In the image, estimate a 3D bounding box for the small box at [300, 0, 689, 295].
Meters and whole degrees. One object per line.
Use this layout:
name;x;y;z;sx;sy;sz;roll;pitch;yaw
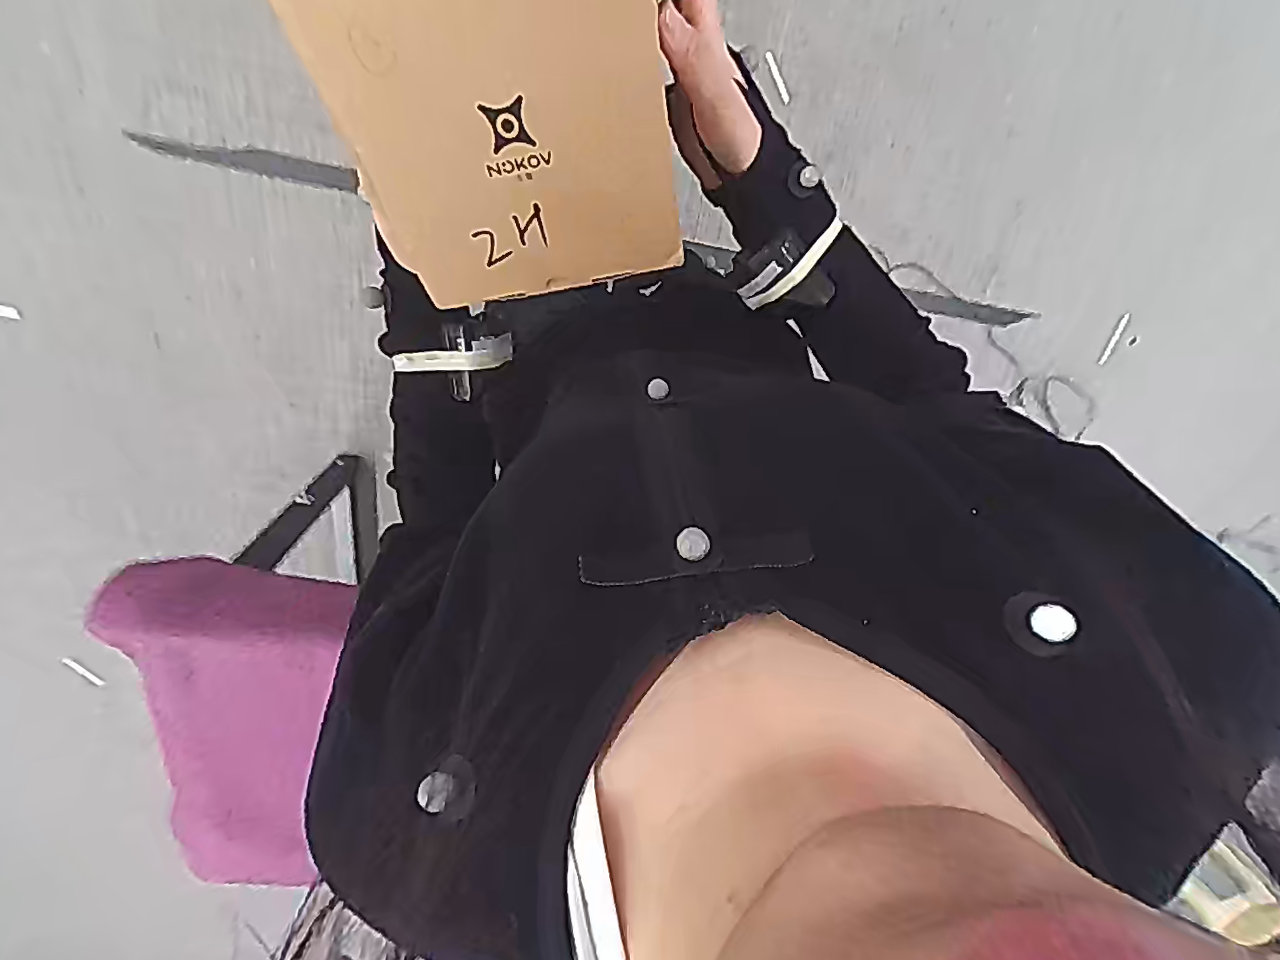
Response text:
small box;-0.065;-0.245;0.328;0.168;0.176;0.179;-7;141;5
